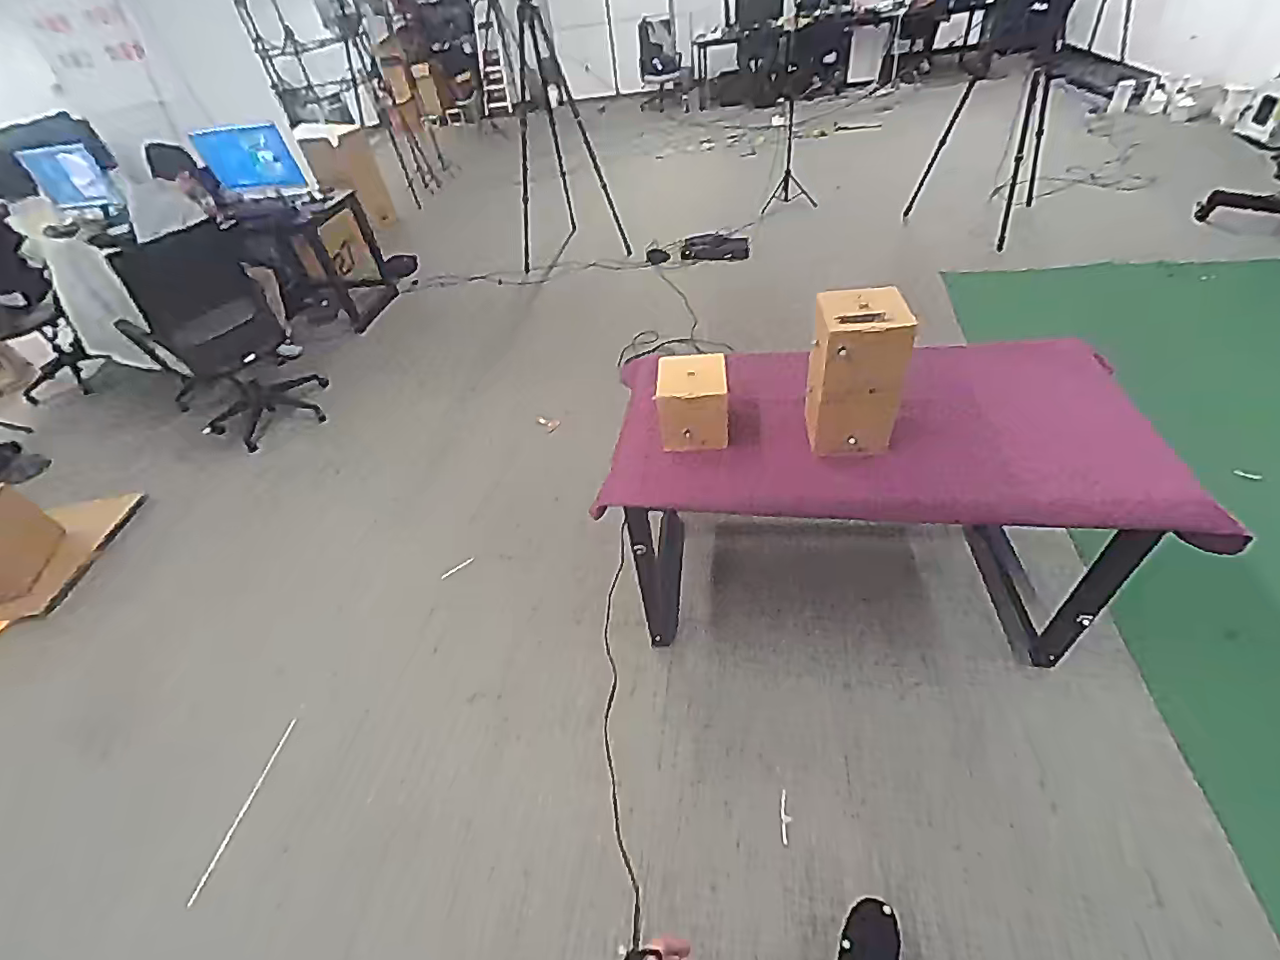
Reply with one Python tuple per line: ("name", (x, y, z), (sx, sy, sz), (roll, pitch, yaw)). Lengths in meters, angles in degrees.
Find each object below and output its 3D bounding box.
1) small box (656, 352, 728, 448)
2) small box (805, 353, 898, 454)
("small box", (0.133, -0.199, 1.354), (0.168, 0.176, 0.179), (-2, 45, 7))
("small box", (0.486, -0.179, 1.267), (0.168, 0.176, 0.179), (-1, 45, 10))
